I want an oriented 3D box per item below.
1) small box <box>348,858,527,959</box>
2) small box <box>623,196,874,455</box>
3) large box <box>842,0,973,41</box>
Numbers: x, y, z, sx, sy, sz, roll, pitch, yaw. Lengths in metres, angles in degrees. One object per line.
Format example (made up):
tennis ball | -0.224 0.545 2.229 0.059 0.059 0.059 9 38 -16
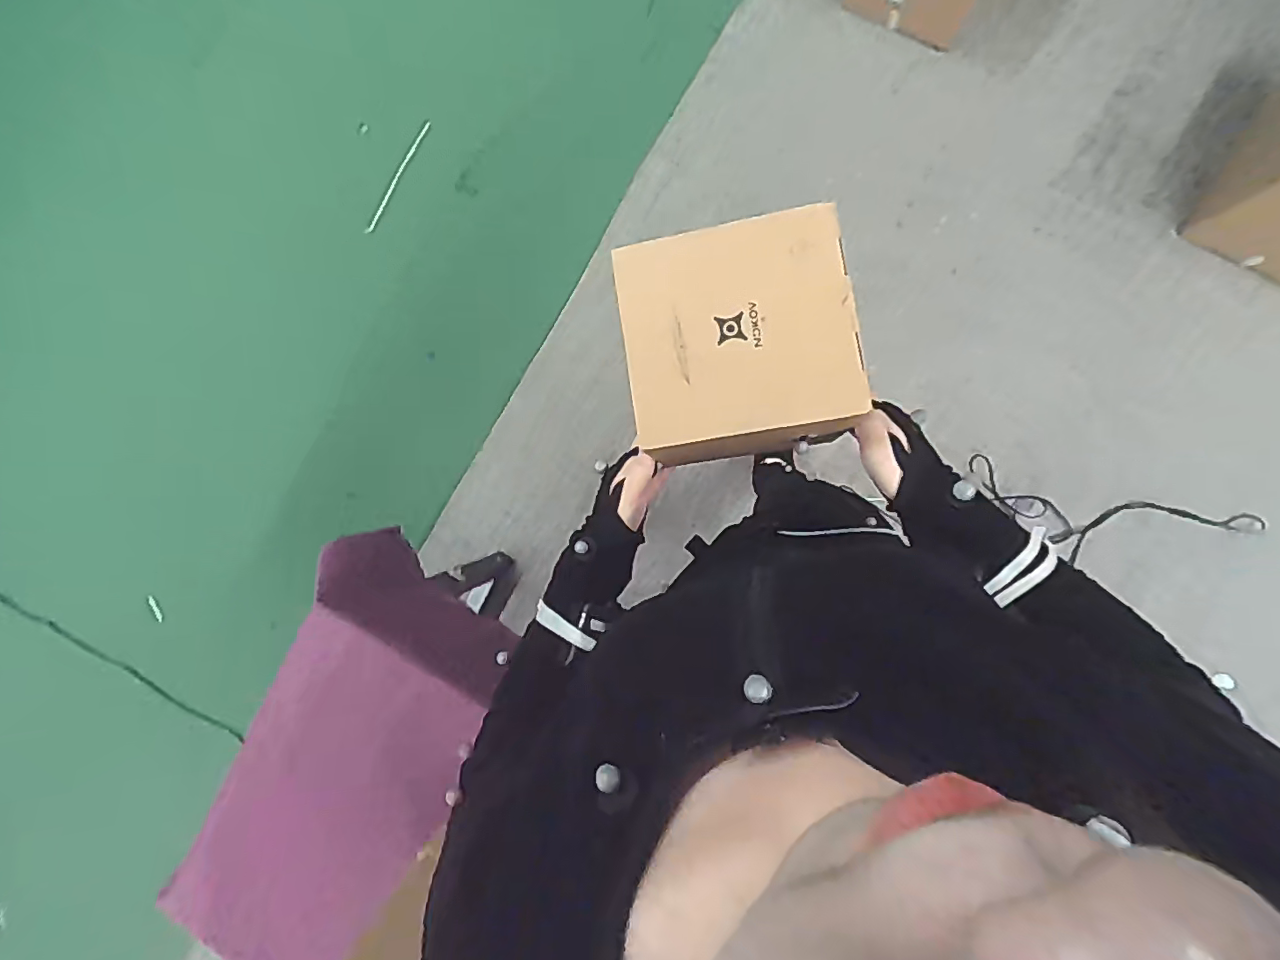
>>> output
small box | -0.244 0.568 0.584 0.168 0.176 0.179 30 96 7
small box | 0.091 -0.119 0.488 0.179 0.176 0.168 -7 86 10
large box | 0.726 -1.359 1.243 0.320 0.320 0.408 31 94 7
